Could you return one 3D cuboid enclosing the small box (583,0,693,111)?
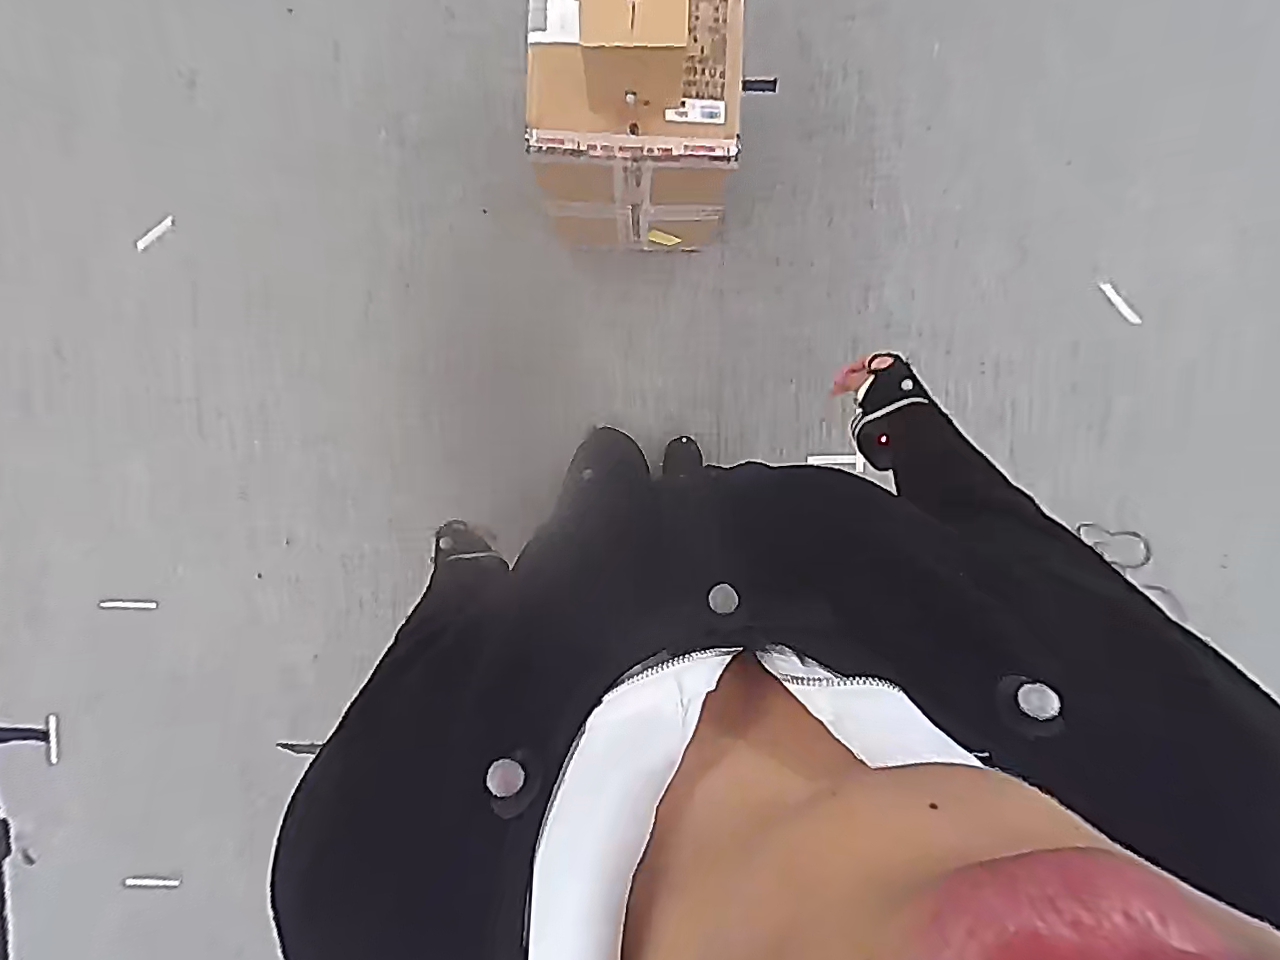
[{"bbox_3d":[-0.003,-0.742,0.879,0.168,0.176,0.179,1,97,0],"label":"small box"}]
